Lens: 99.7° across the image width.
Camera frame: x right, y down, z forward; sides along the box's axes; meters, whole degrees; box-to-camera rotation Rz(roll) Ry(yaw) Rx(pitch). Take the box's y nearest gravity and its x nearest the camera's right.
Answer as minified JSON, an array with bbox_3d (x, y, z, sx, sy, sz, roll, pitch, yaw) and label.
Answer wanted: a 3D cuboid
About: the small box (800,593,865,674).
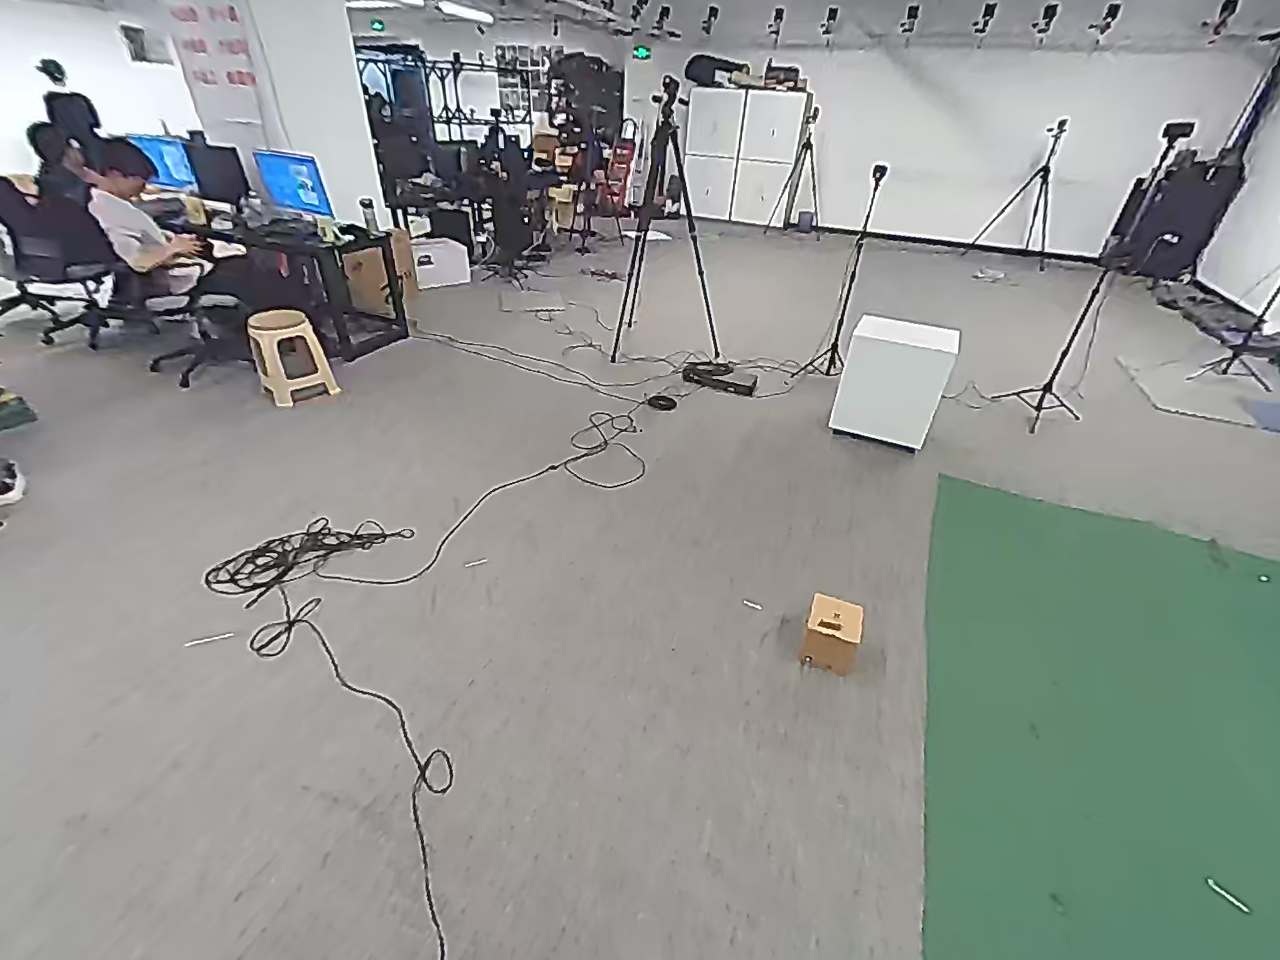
[{"bbox_3d":[0.650,0.523,1.834,0.168,0.176,0.179,16,36,18],"label":"small box"}]
